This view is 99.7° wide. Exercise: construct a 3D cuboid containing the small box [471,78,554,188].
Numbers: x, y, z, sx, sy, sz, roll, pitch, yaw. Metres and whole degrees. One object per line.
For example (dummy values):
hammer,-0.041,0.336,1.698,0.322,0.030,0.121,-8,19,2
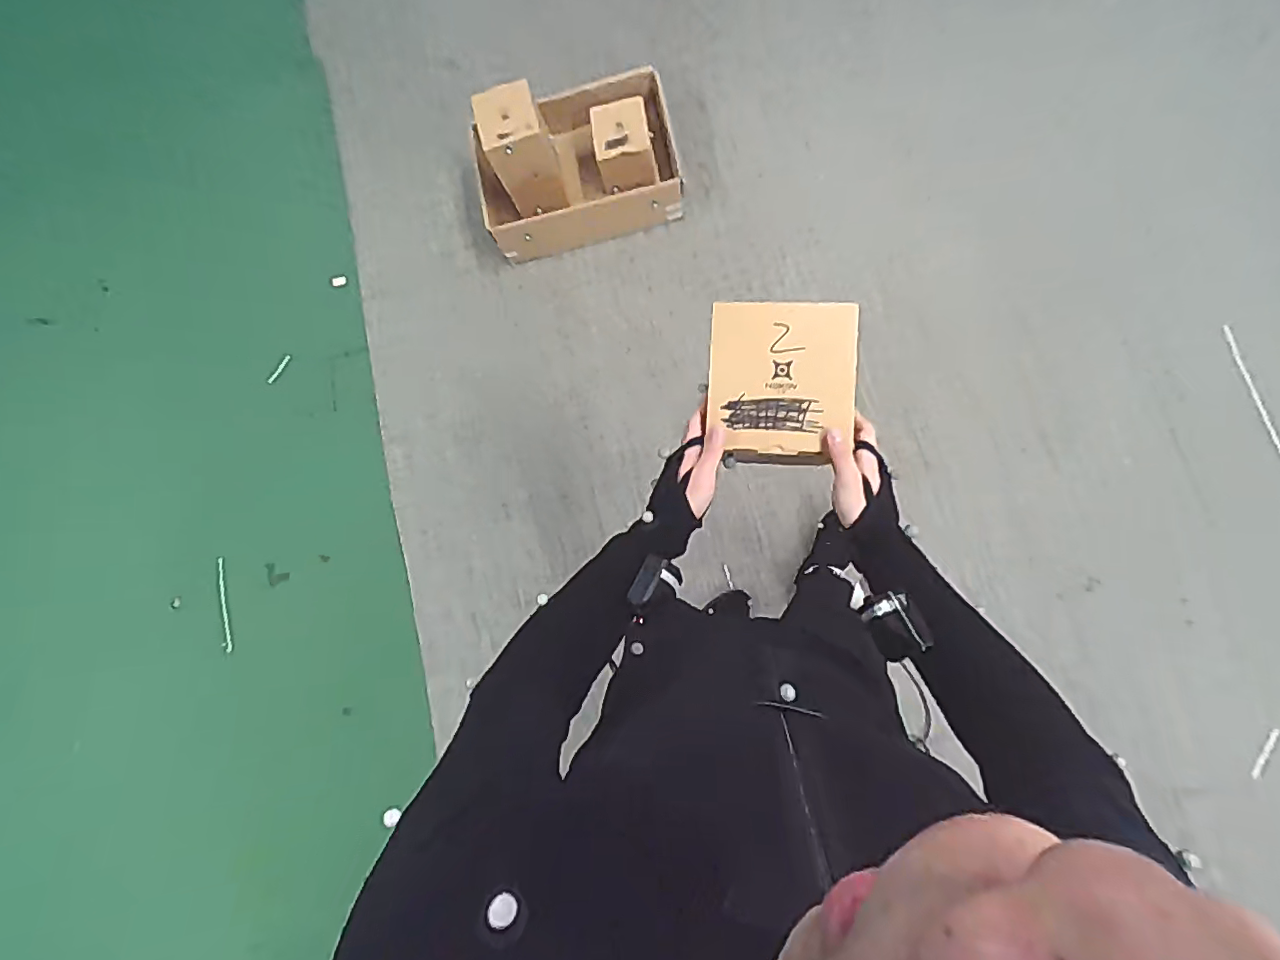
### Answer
small box,-0.360,-0.984,1.545,0.168,0.176,0.179,-15,81,6
